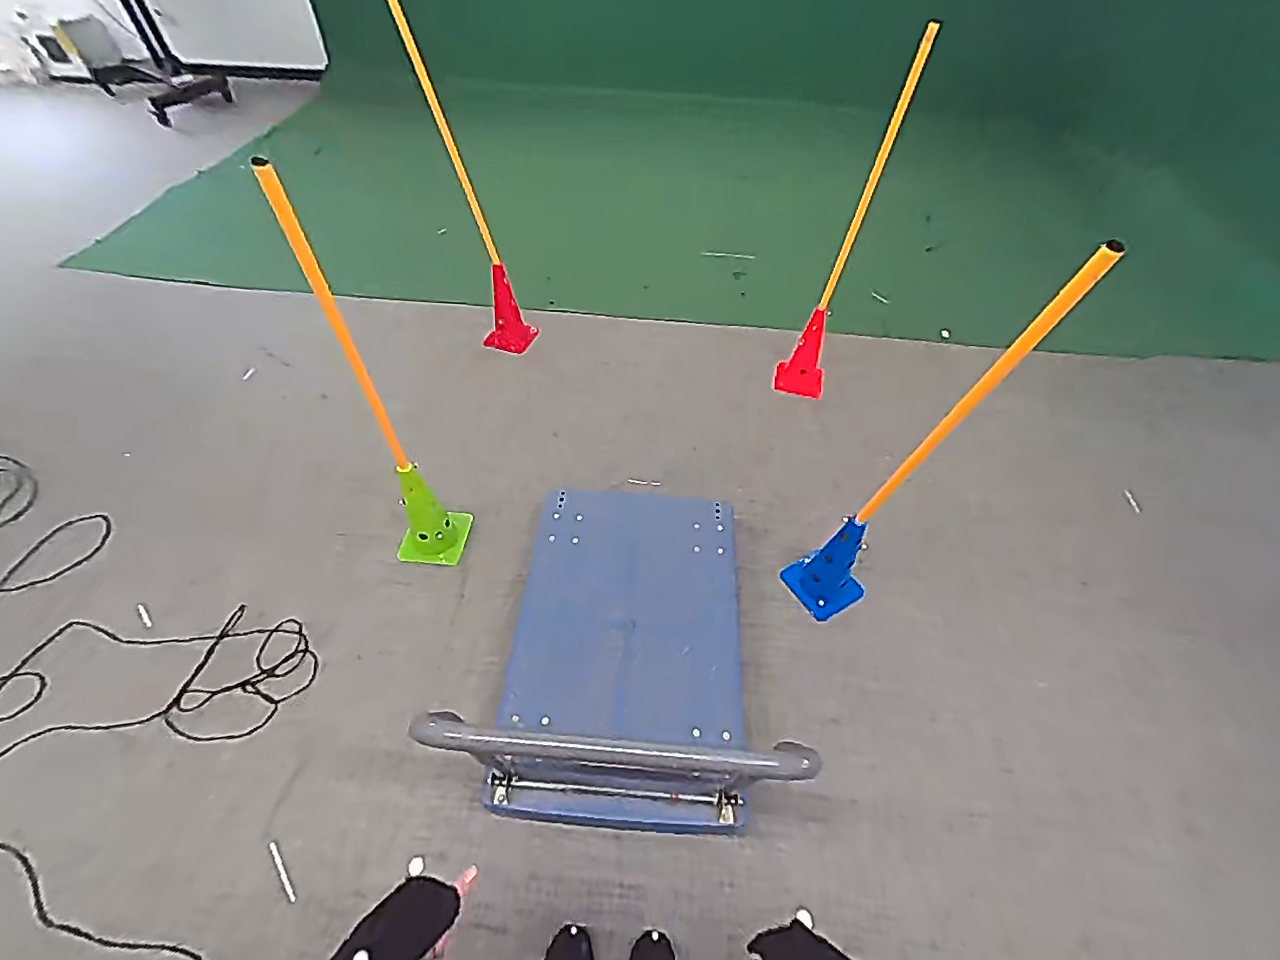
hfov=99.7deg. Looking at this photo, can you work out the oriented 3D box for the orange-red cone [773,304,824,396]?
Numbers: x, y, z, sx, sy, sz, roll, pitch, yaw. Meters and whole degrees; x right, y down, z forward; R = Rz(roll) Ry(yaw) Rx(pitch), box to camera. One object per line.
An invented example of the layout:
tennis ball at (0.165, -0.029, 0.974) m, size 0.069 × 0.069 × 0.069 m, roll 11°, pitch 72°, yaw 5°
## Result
orange-red cone at (0.678, -0.541, 2.176) m, size 0.198 × 0.360 × 0.199 m, roll 13°, pitch 53°, yaw 10°
